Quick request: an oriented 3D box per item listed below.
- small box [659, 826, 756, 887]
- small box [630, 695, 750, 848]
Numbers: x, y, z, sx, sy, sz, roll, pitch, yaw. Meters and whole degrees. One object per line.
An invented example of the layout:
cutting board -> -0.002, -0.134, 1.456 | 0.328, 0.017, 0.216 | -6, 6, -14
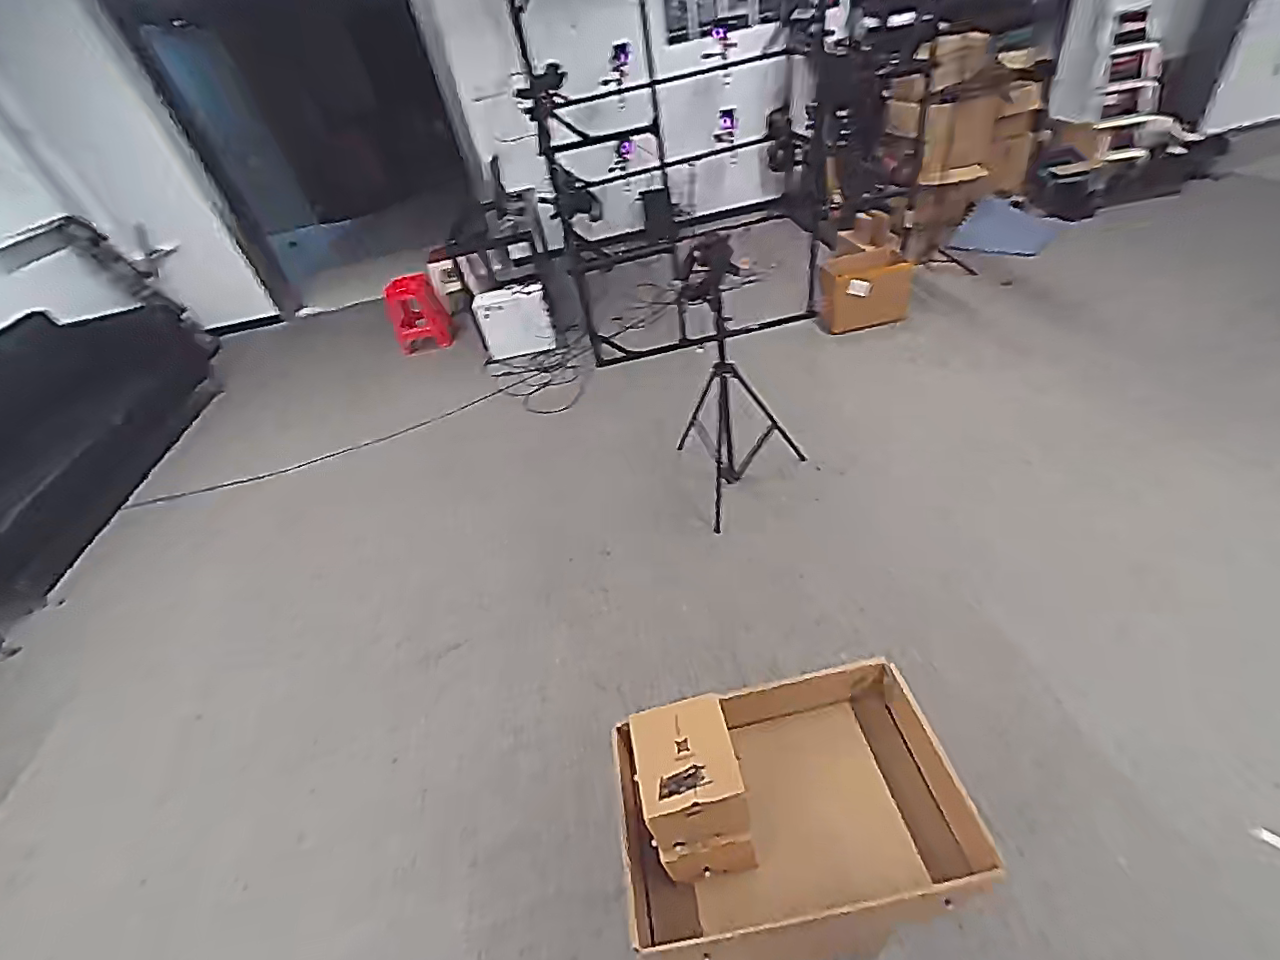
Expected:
small box -> 0.118, 0.644, 1.042 | 0.168, 0.176, 0.179 | -15, 40, 0
small box -> 0.088, 0.514, 0.946 | 0.168, 0.176, 0.179 | -14, 39, 0
